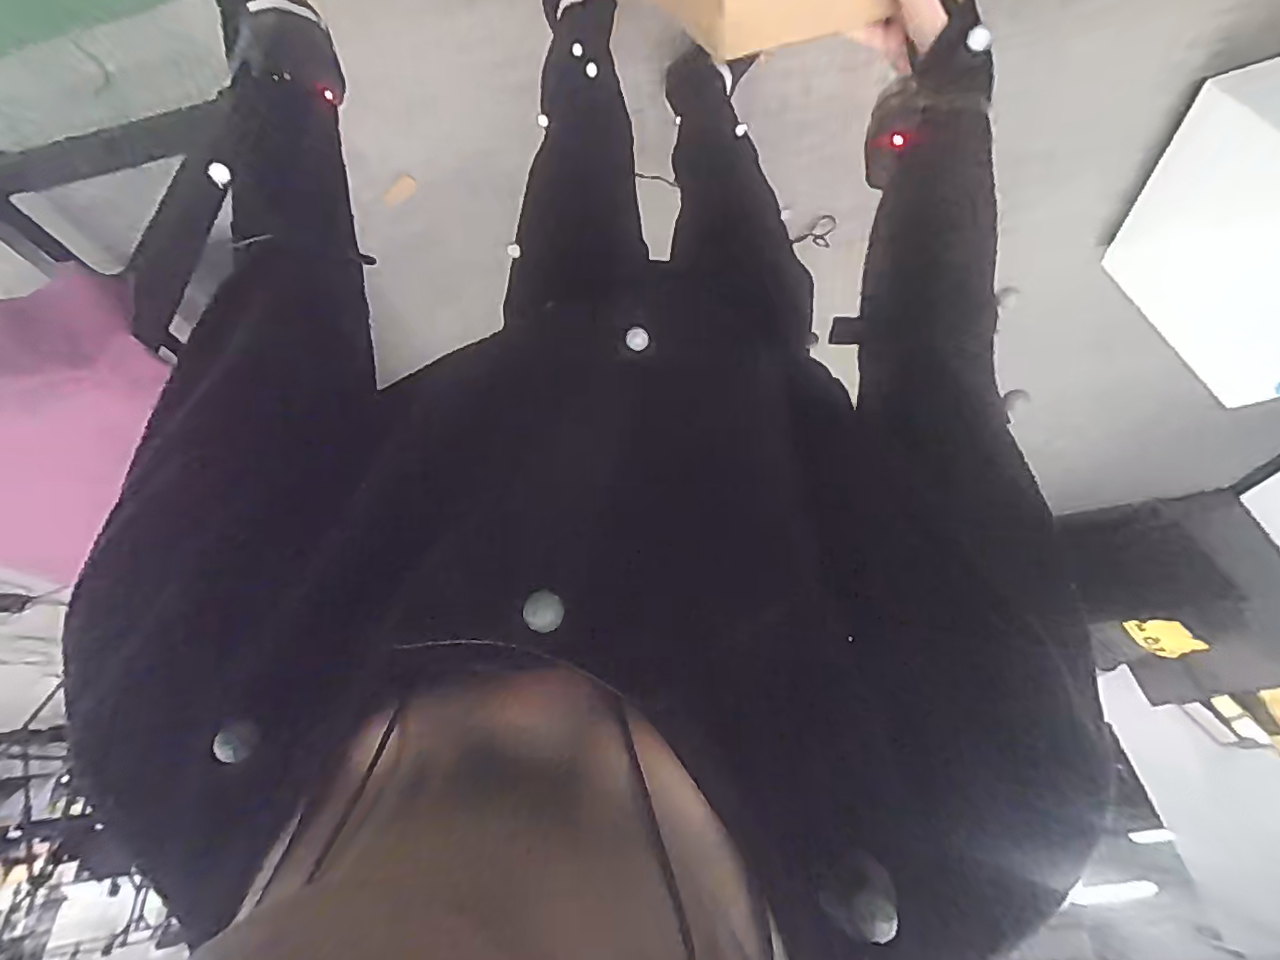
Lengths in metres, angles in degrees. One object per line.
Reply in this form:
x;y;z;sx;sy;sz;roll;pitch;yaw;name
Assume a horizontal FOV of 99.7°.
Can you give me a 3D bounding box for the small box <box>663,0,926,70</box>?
0.118;-0.458;0.413;0.179;0.176;0.168;-18;147;-5;small box
